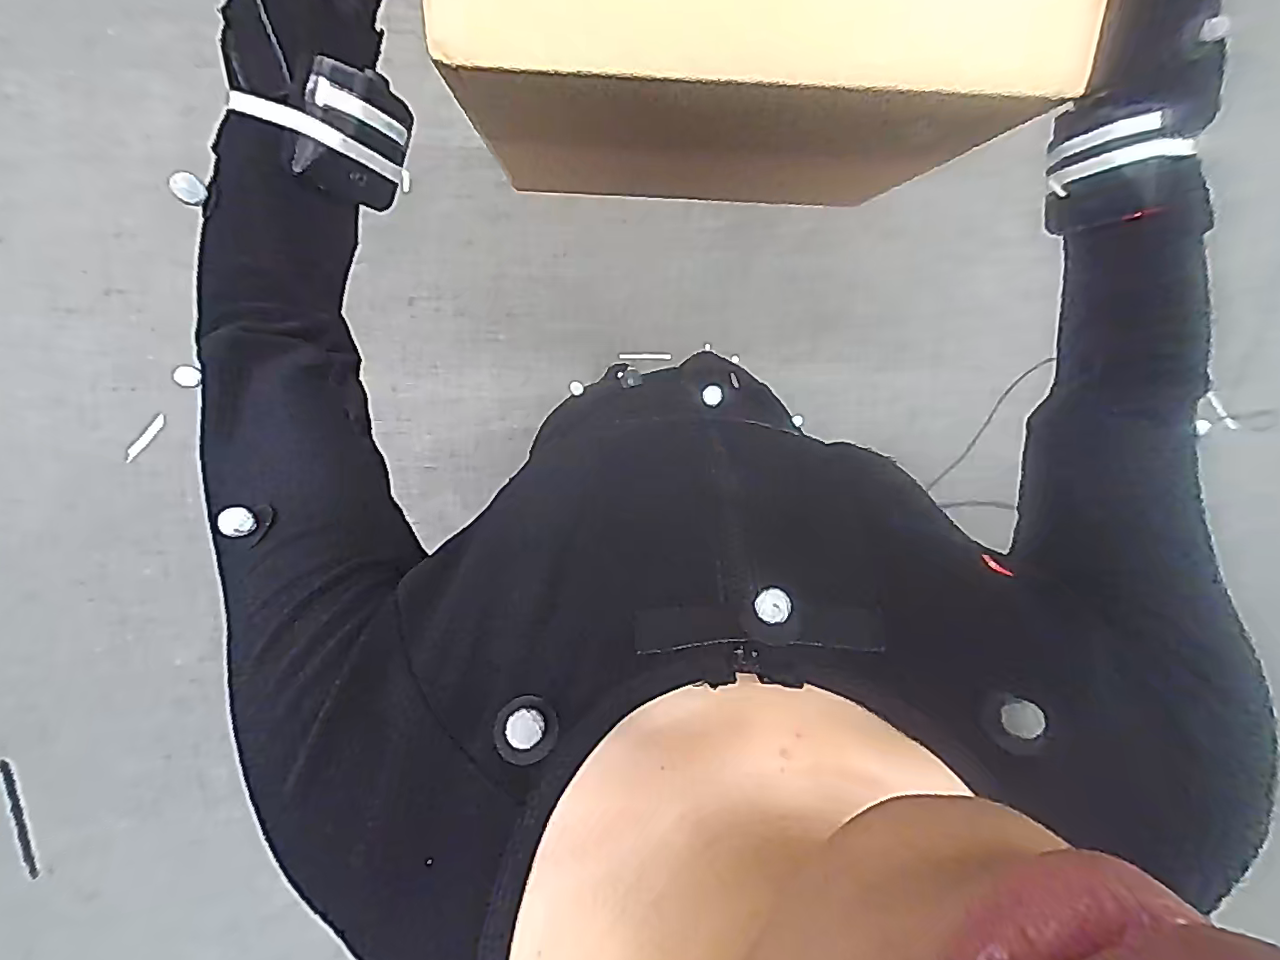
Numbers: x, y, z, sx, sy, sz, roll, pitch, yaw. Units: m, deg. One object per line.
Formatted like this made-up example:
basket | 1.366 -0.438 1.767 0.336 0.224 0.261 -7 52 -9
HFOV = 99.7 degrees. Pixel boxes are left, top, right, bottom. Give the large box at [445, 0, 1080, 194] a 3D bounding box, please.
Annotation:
large box | 0.069 -0.441 0.443 0.408 0.320 0.320 -1 106 -4
